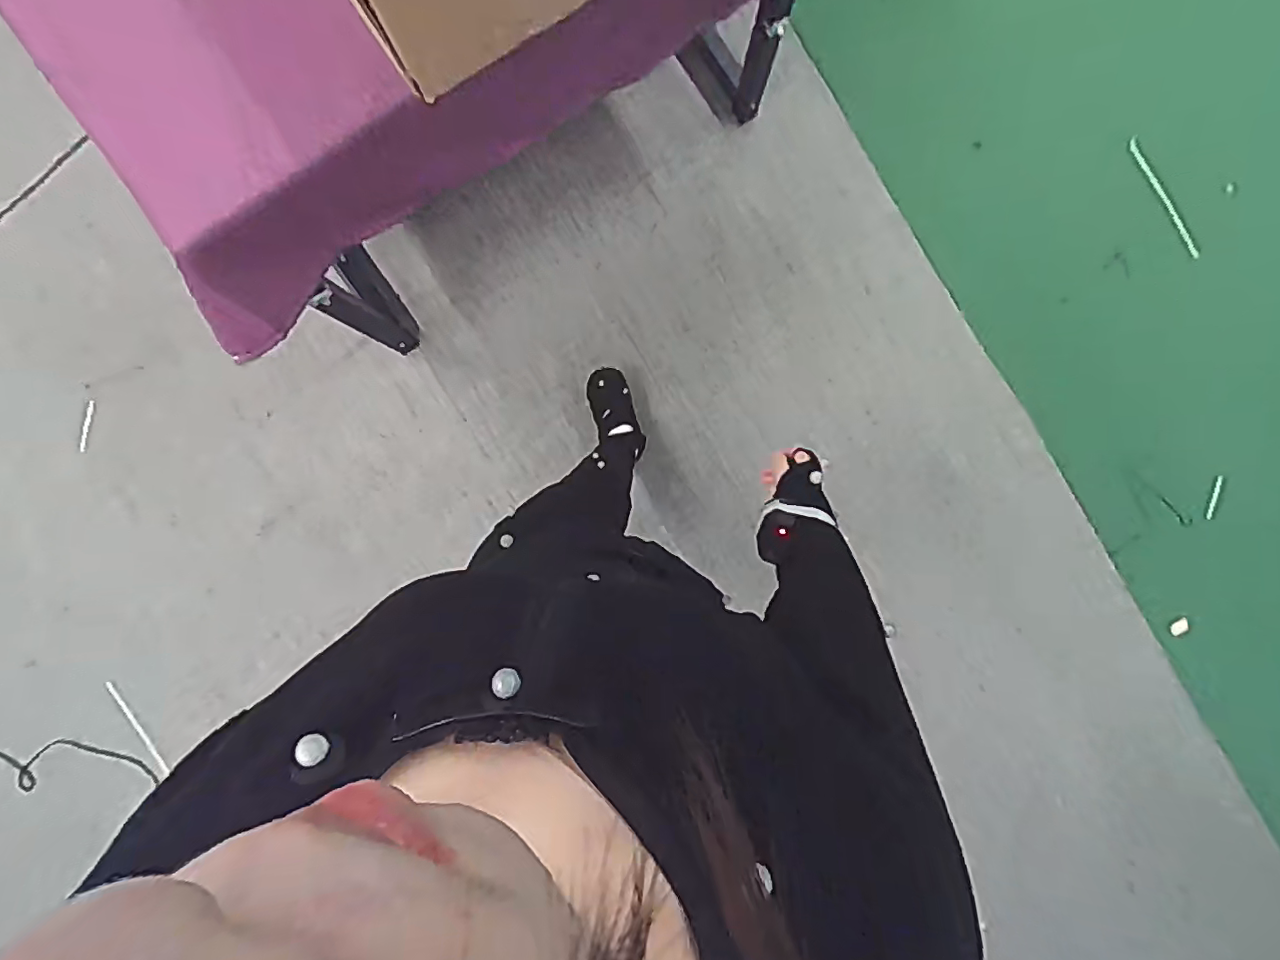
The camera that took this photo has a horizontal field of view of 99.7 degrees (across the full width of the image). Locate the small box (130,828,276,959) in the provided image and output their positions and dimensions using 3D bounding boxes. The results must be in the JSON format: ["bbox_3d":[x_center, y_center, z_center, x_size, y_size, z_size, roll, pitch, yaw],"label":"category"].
[{"bbox_3d":[-0.995,0.963,1.255,0.179,0.176,0.168,-35,90,1],"label":"small box"}]
